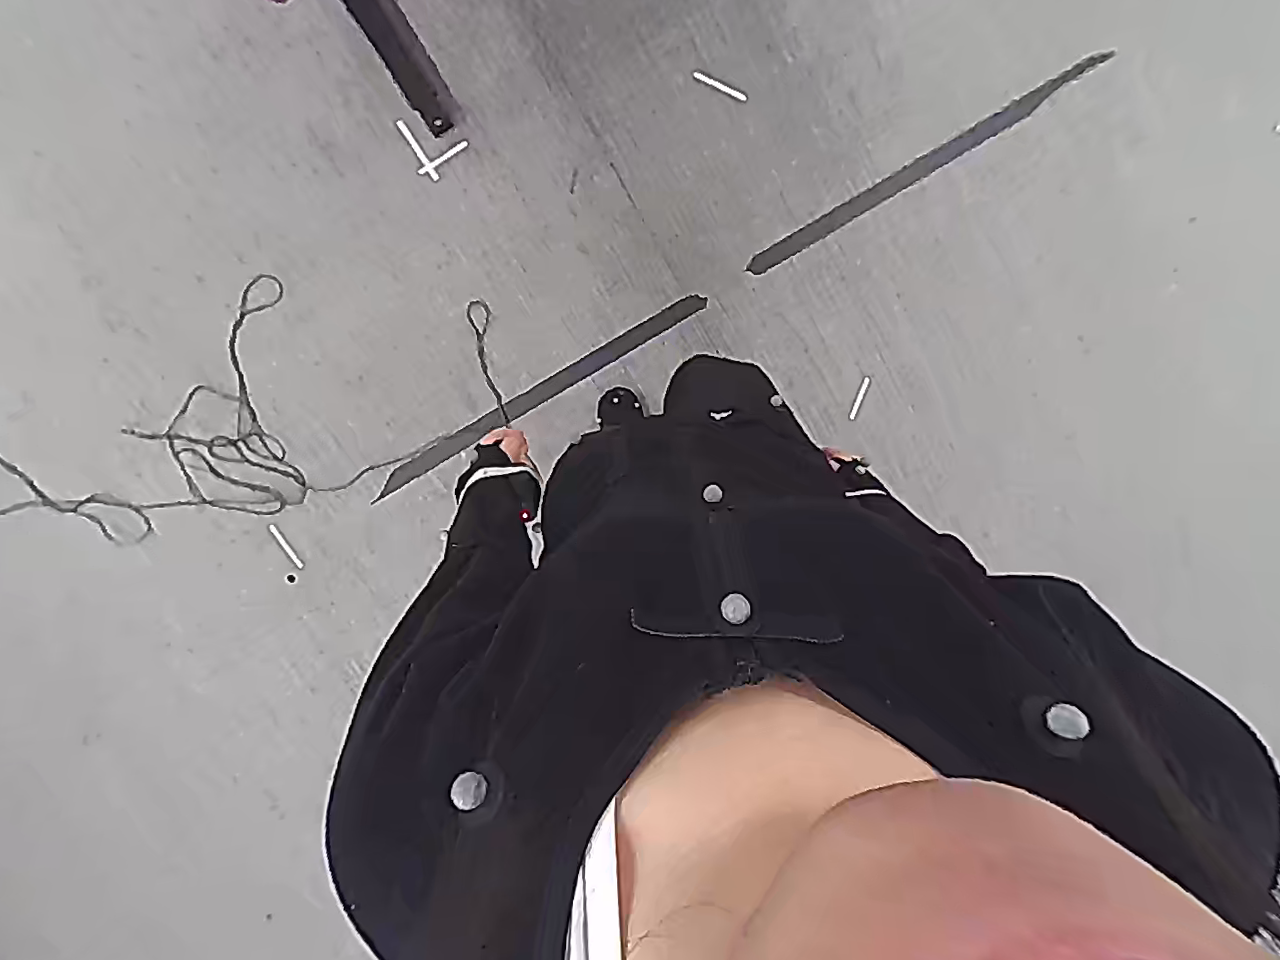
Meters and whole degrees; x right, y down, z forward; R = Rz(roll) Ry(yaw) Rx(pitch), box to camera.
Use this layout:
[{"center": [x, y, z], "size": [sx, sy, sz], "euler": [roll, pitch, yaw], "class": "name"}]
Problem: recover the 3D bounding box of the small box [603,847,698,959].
[{"center": [0.019, 1.007, 1.270], "size": [0.179, 0.176, 0.168], "euler": [16, 97, -5], "class": "small box"}]
